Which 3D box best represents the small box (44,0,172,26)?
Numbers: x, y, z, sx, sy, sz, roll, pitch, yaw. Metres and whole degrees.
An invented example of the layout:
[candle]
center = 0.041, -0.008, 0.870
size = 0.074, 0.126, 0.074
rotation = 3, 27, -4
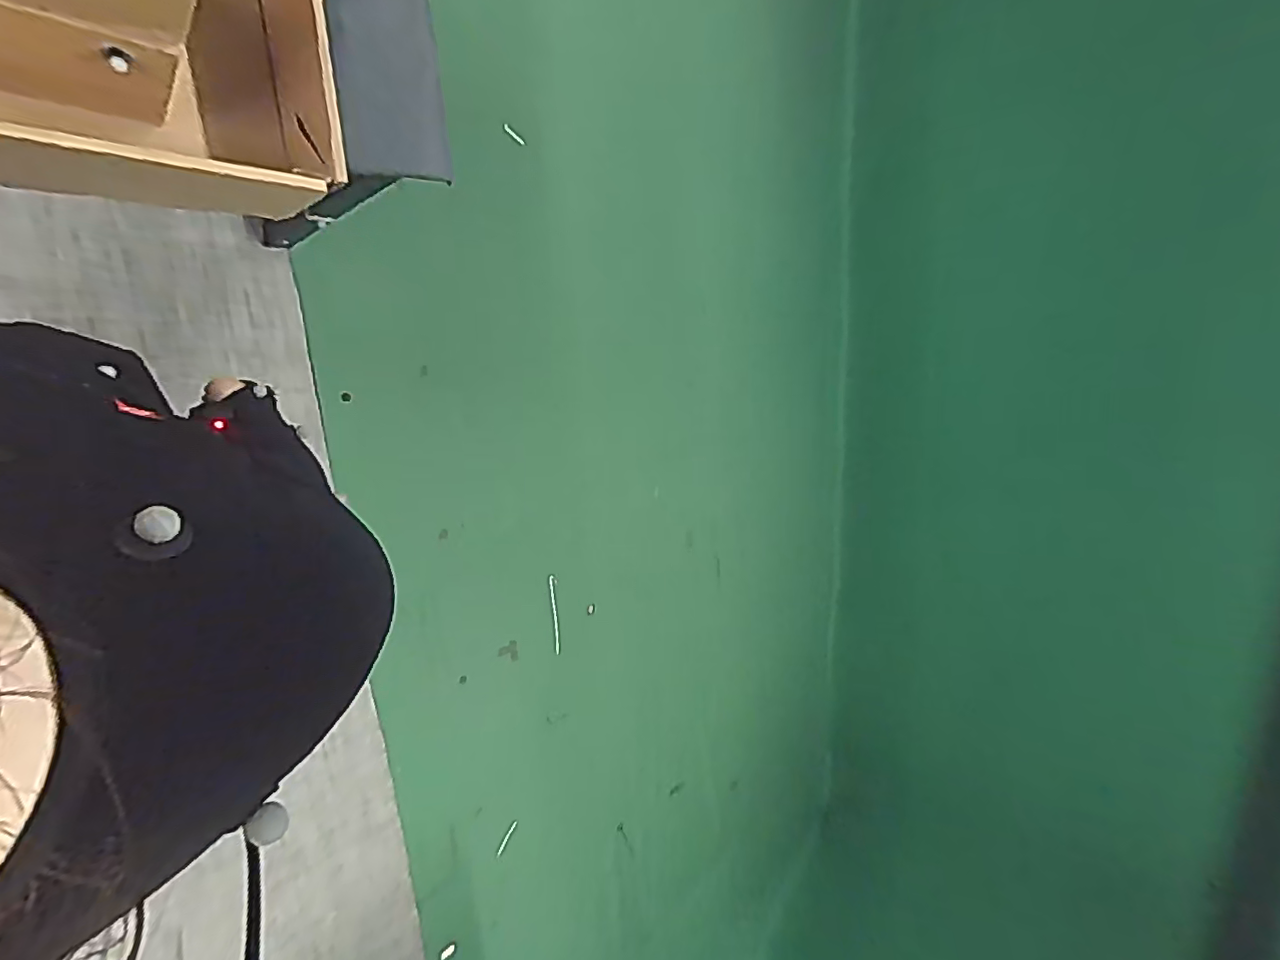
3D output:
[small box]
center = -0.381, -0.406, 0.302
size = 0.179, 0.176, 0.168
rotation = -16, 109, -45
